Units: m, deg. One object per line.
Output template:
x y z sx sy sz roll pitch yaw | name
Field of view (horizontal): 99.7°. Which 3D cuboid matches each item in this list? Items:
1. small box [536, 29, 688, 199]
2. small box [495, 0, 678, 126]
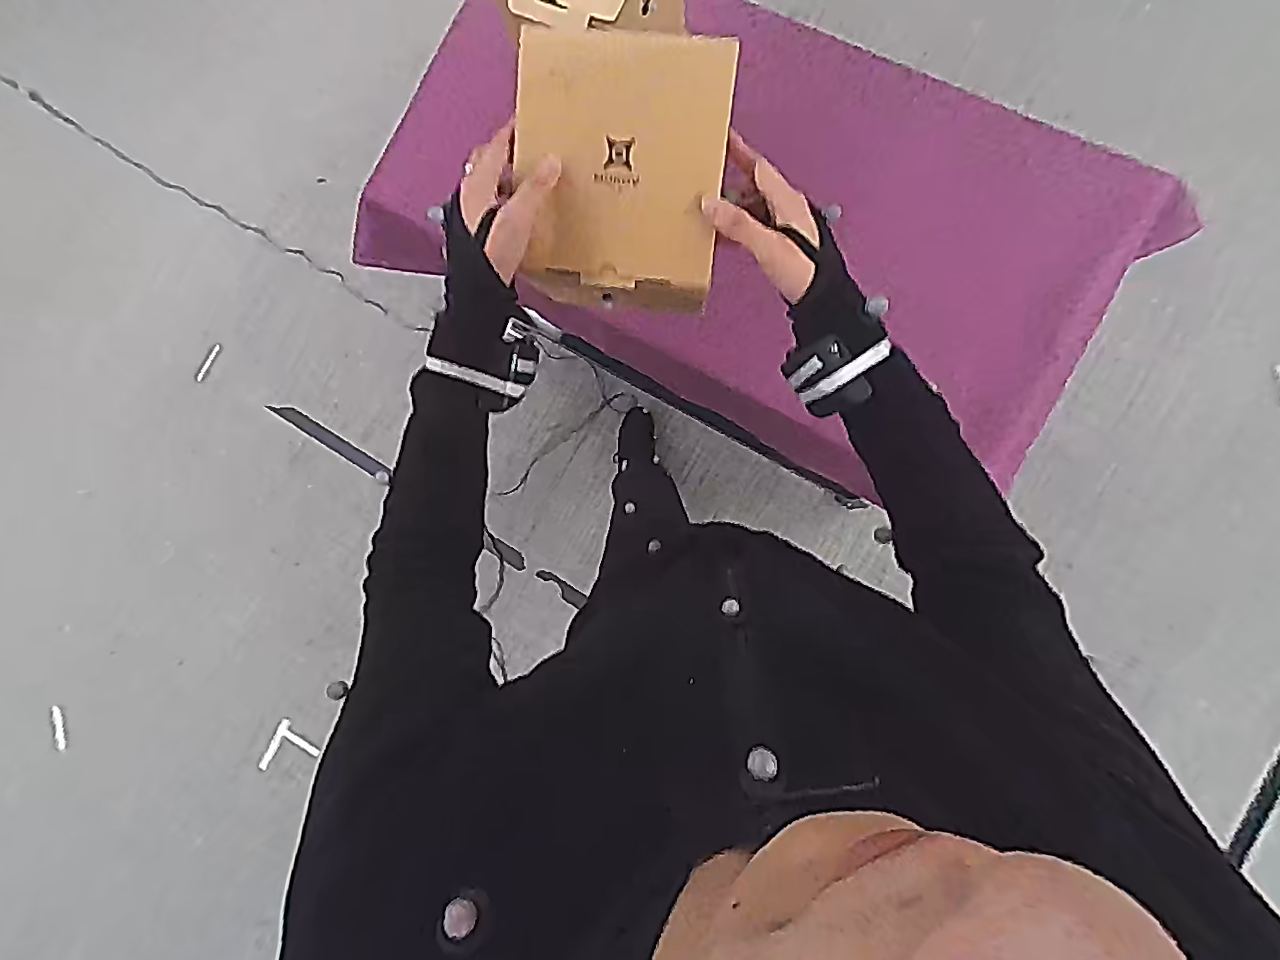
-0.035 -0.595 0.859 0.168 0.176 0.179 29 90 8 | small box
-0.055 -0.608 0.696 0.168 0.176 0.179 25 89 7 | small box
